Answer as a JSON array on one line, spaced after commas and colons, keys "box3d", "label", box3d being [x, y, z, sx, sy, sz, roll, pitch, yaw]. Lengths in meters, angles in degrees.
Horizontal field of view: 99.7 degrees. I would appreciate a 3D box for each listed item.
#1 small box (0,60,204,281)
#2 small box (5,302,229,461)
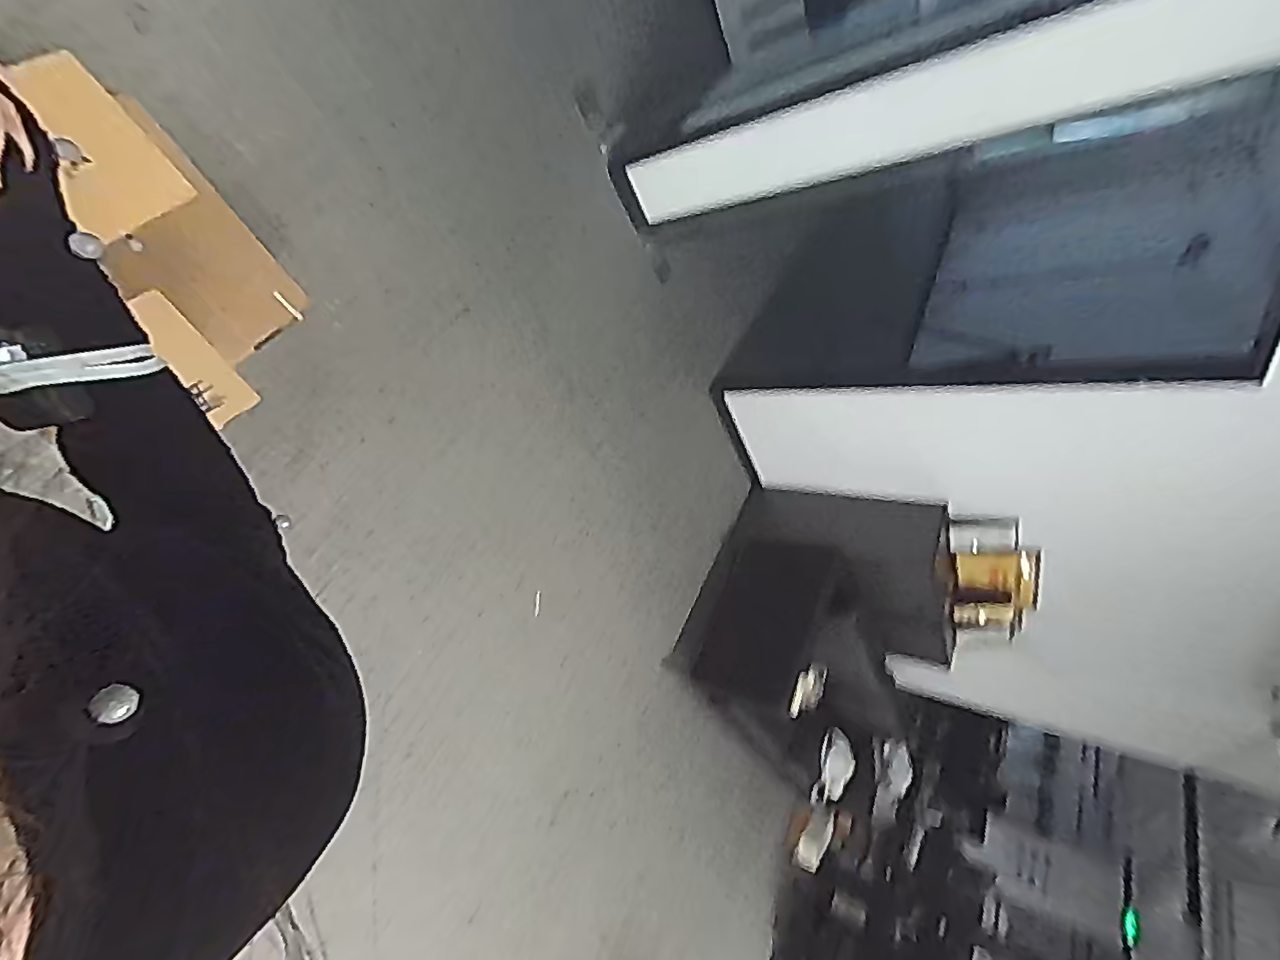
[{"box3d": [-0.704, -0.368, 0.663, 0.179, 0.176, 0.168, -56, 134, -31], "label": "small box"}, {"box3d": [-0.799, -0.149, 0.830, 0.179, 0.176, 0.168, -57, 135, -34], "label": "small box"}]
